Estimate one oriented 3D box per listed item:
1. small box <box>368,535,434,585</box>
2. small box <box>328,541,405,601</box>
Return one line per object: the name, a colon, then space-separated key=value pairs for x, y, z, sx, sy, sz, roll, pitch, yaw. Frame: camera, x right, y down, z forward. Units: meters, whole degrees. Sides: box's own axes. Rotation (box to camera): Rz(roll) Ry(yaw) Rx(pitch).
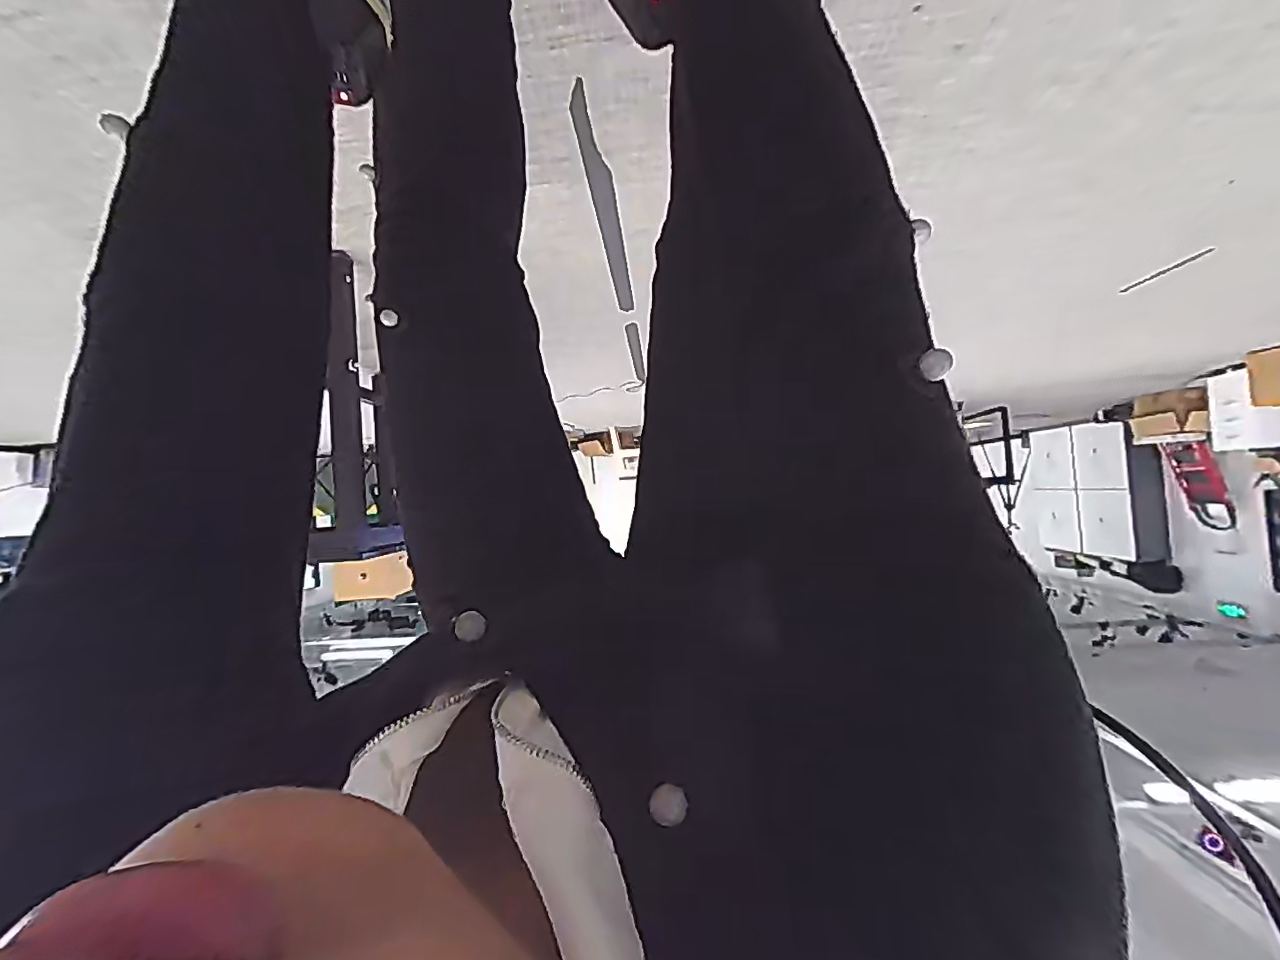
small box: x=-0.884 y=0.294 z=2.002 sx=0.179 sy=0.176 sz=0.168 roll=-3 pitch=178 yaw=3
small box: x=-0.883 y=0.288 z=1.752 sx=0.179 sy=0.176 sz=0.168 roll=-4 pitch=178 yaw=-1
